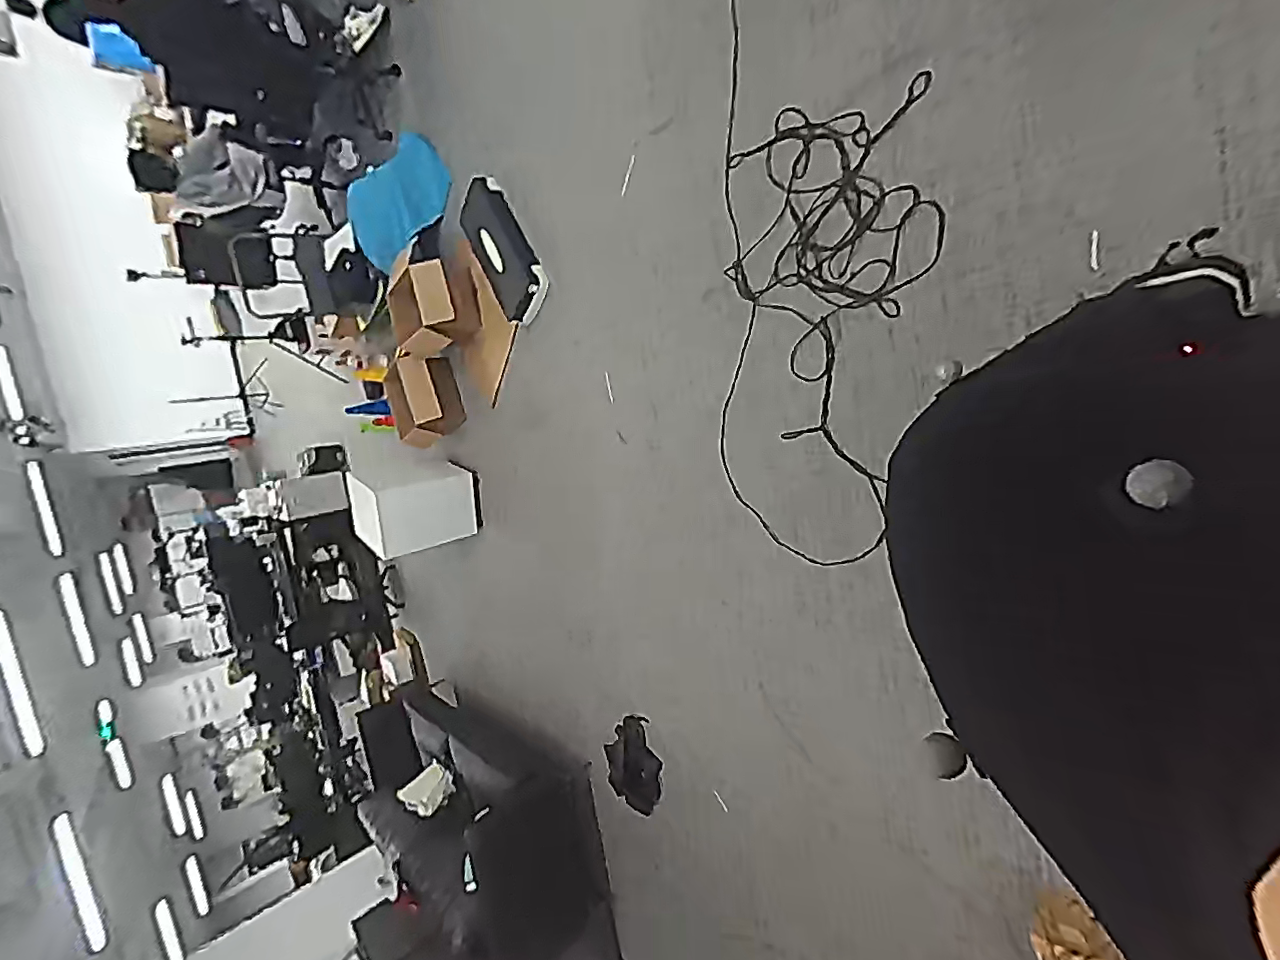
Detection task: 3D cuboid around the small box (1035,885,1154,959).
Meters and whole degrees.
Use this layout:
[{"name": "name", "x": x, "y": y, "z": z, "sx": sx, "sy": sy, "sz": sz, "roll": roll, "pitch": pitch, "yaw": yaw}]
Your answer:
[{"name": "small box", "x": 1.020, "y": 1.064, "z": 1.200, "sx": 0.168, "sy": 0.176, "sz": 0.179, "roll": -19, "pitch": 87, "yaw": 50}]
